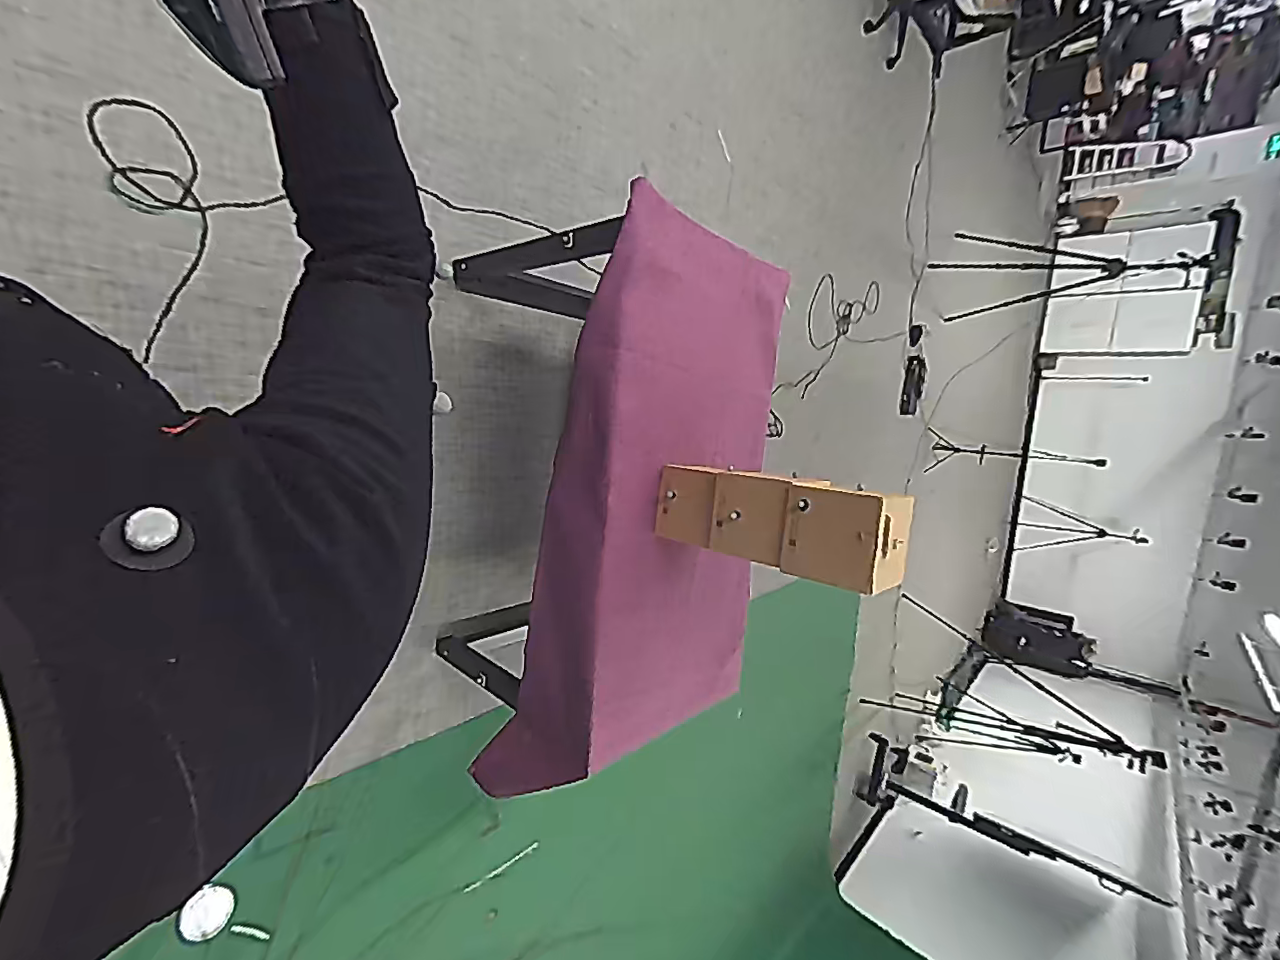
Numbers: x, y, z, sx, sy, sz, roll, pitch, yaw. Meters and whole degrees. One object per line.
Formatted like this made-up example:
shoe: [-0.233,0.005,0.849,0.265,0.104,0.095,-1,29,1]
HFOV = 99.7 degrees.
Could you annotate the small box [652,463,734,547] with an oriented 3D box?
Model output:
small box: [0.152,0.053,1.236,0.179,0.176,0.168,3,95,-47]

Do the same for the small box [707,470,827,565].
small box: [0.262,0.070,1.115,0.179,0.176,0.168,1,96,-48]

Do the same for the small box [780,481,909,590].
small box: [0.376,0.095,0.999,0.179,0.176,0.168,1,96,-49]
